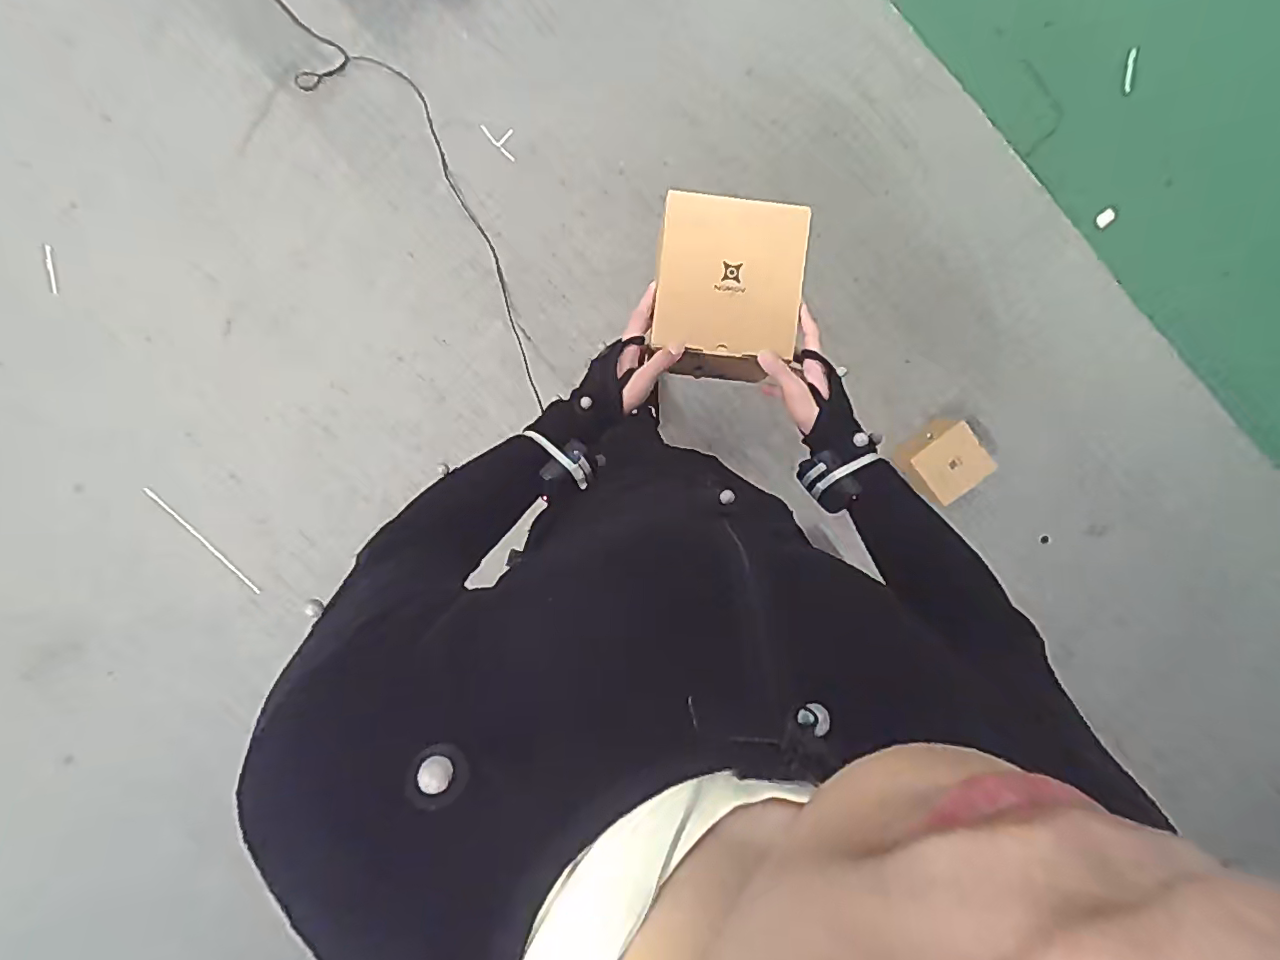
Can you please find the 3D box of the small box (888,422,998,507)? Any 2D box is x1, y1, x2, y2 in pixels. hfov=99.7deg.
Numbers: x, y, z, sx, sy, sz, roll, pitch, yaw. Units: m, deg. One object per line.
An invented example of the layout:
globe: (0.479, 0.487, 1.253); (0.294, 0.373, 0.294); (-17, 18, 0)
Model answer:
small box: (0.840, -0.052, 1.514); (0.179, 0.176, 0.168); (-38, 94, 7)

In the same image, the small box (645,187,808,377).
small box: (0.097, -0.236, 0.686); (0.168, 0.176, 0.179); (5, 93, -2)
